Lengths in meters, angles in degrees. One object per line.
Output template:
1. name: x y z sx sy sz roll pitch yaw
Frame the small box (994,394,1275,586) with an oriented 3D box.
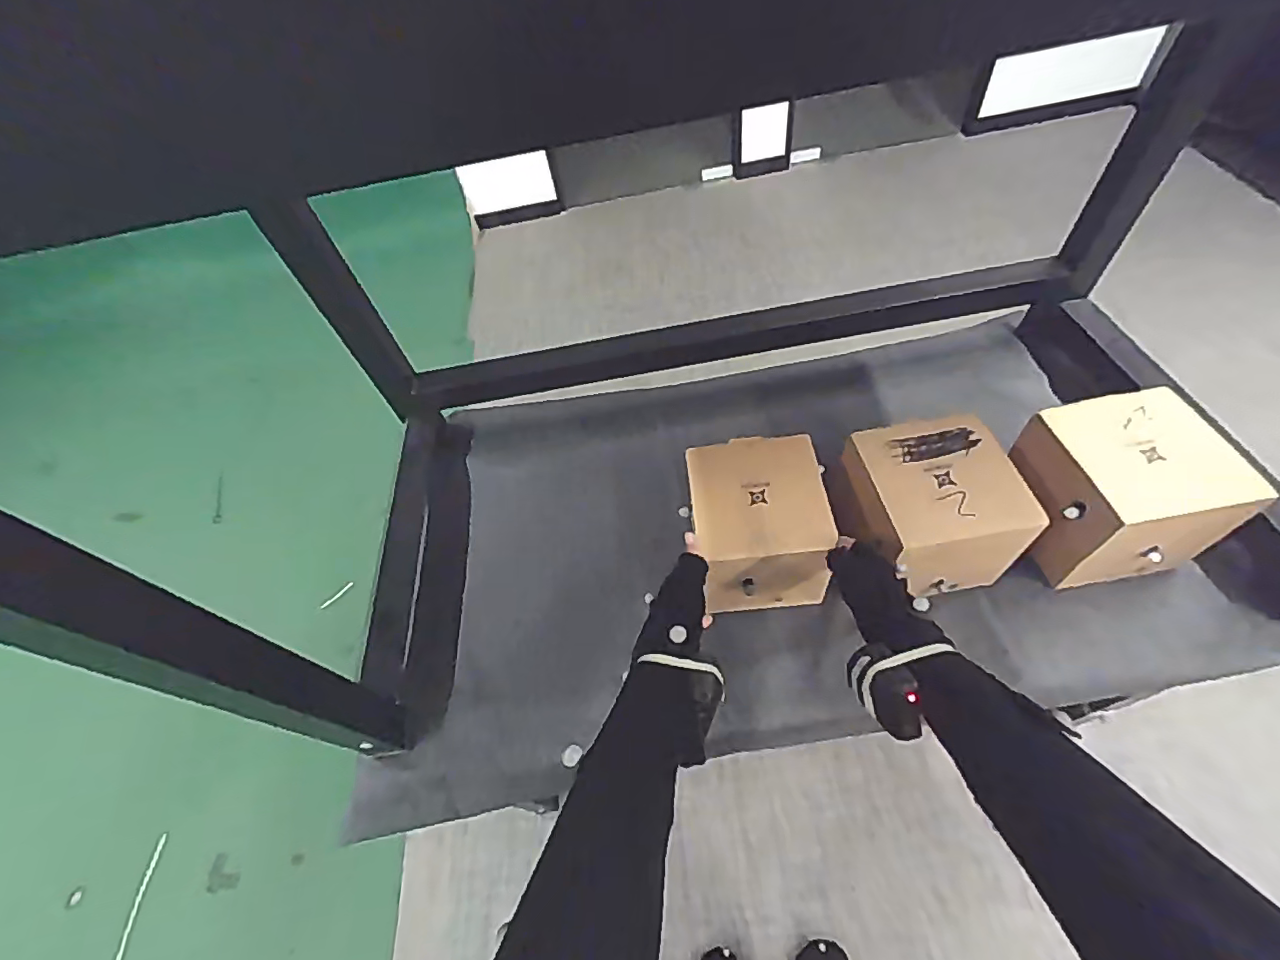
1. small box: 0.605 0.022 0.697 0.168 0.176 0.179 -11 52 2

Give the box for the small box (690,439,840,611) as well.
1. small box: 0.161 0.070 0.741 0.168 0.176 0.179 -6 54 5
